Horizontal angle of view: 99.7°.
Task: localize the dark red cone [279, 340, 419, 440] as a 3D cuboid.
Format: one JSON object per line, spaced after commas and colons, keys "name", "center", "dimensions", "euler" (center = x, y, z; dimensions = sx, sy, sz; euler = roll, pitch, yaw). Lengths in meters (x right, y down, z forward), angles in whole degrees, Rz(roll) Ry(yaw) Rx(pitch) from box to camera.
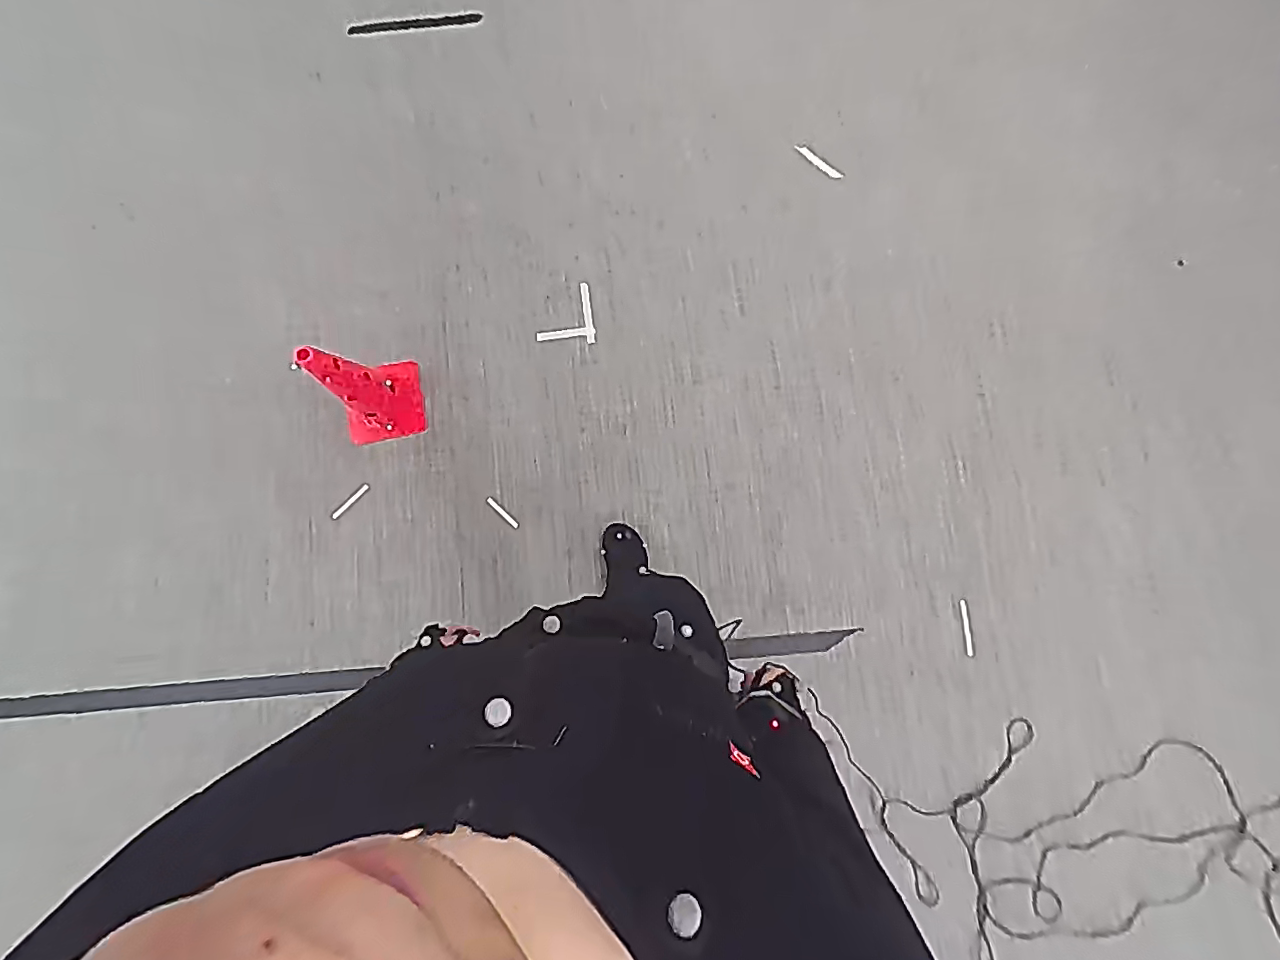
{"name": "dark red cone", "center": [-0.670, -0.228, 1.214], "dimensions": [0.202, 0.394, 0.201], "euler": [-12, 84, -2]}
